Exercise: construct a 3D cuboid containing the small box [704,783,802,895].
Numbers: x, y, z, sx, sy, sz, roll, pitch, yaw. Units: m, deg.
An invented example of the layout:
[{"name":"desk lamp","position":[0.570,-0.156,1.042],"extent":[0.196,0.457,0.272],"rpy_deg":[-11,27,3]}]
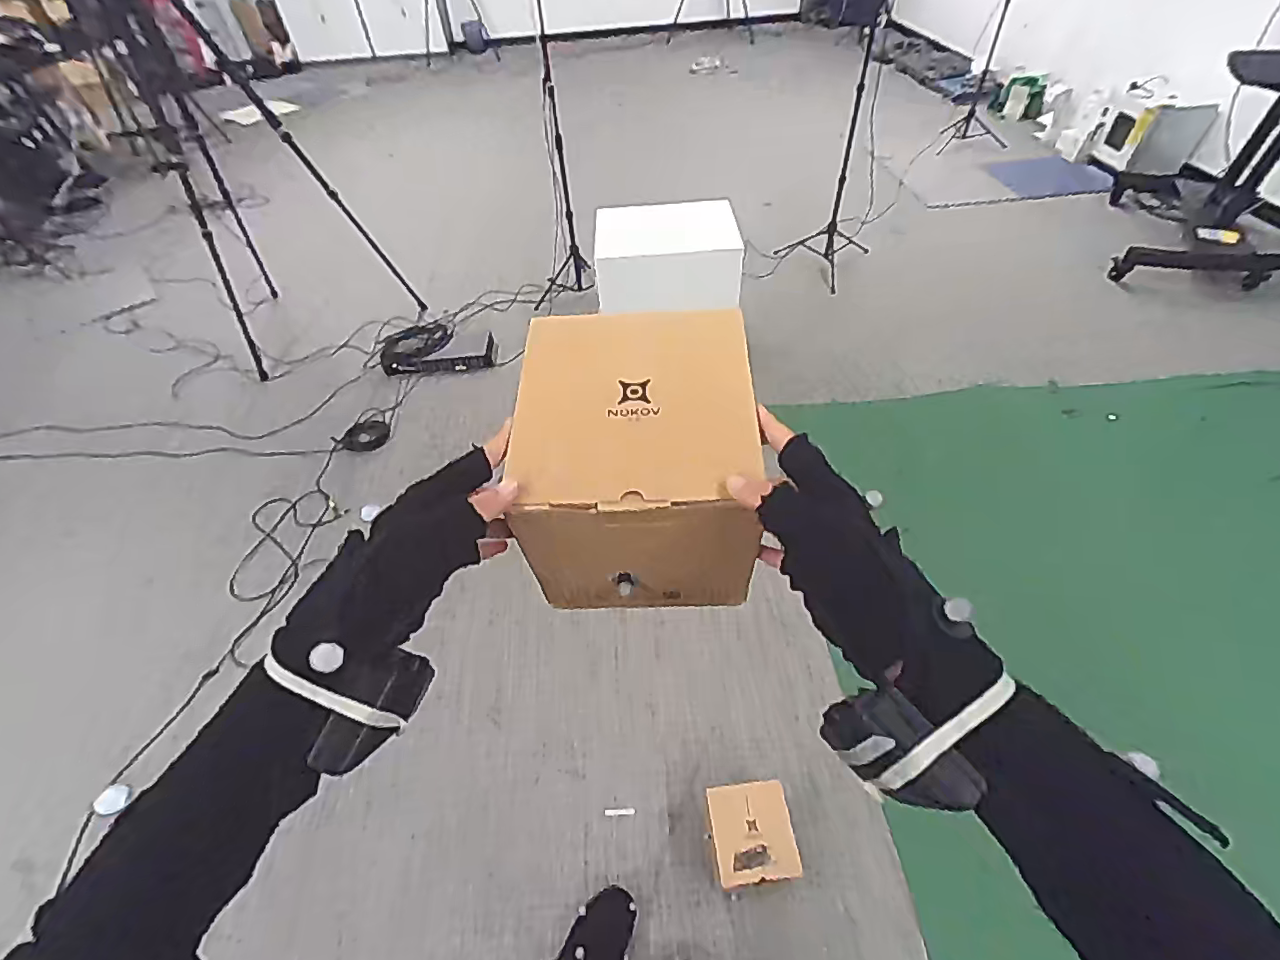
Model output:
[{"name":"small box","position":[0.232,0.772,1.157],"extent":[0.168,0.176,0.179],"rpy_deg":[-6,48,-2]}]
